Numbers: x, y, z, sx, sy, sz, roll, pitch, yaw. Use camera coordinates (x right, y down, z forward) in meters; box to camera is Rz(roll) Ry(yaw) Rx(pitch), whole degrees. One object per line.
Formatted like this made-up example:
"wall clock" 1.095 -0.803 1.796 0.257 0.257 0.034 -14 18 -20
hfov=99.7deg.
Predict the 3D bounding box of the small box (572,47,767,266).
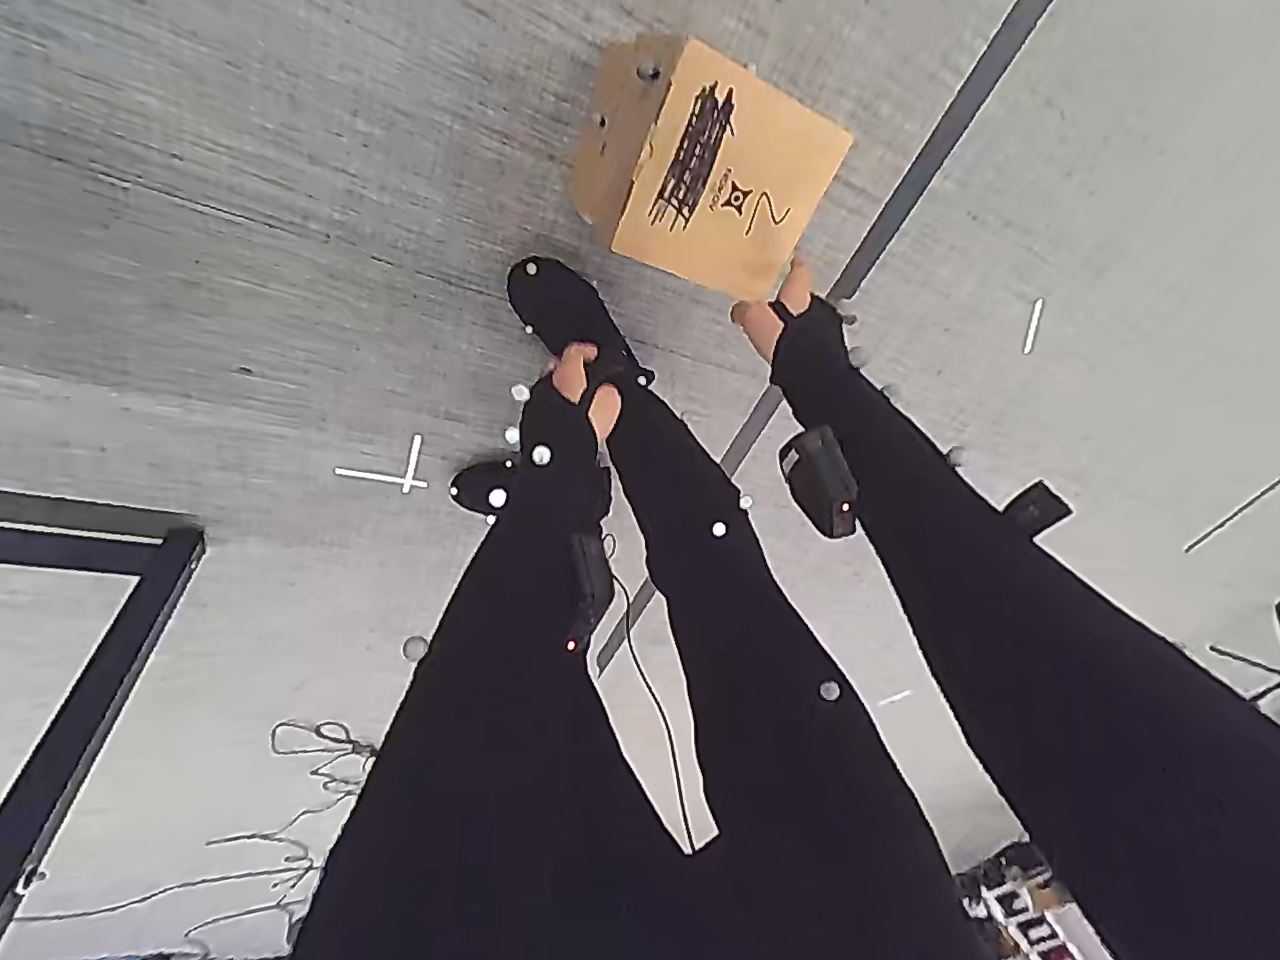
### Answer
"small box" 0.021 -0.401 0.670 0.168 0.176 0.179 10 126 -23
